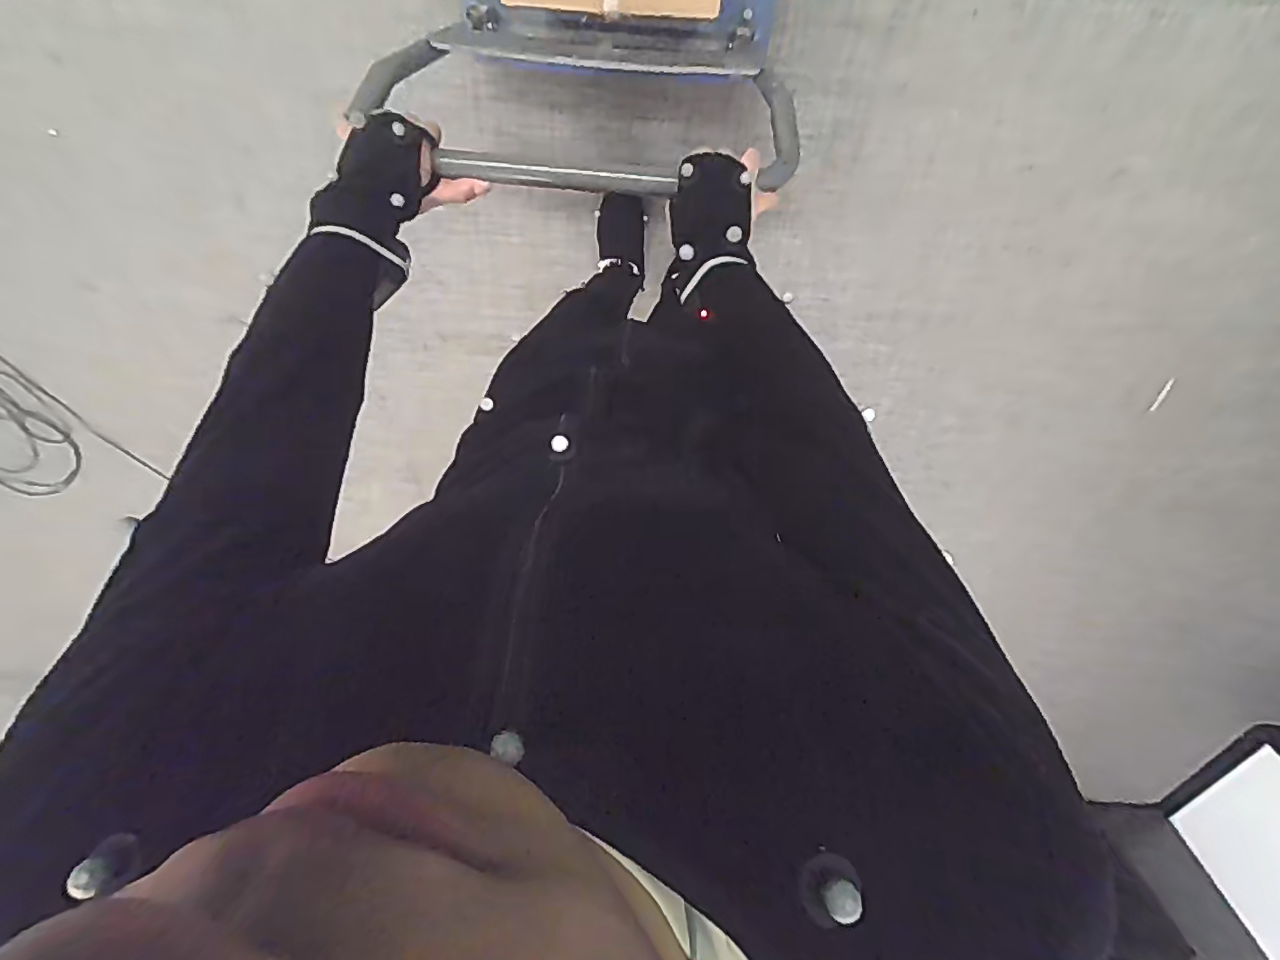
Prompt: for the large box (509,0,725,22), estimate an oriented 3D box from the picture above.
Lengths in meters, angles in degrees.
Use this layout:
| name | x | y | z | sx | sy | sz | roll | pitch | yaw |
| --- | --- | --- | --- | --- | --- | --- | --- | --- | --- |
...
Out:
| name | x | y | z | sx | sy | sz | roll | pitch | yaw |
| --- | --- | --- | --- | --- | --- | --- | --- | --- | --- |
| large box | -0.019 | -0.911 | 0.756 | 0.320 | 0.320 | 0.408 | 4 | 131 | 0 |
